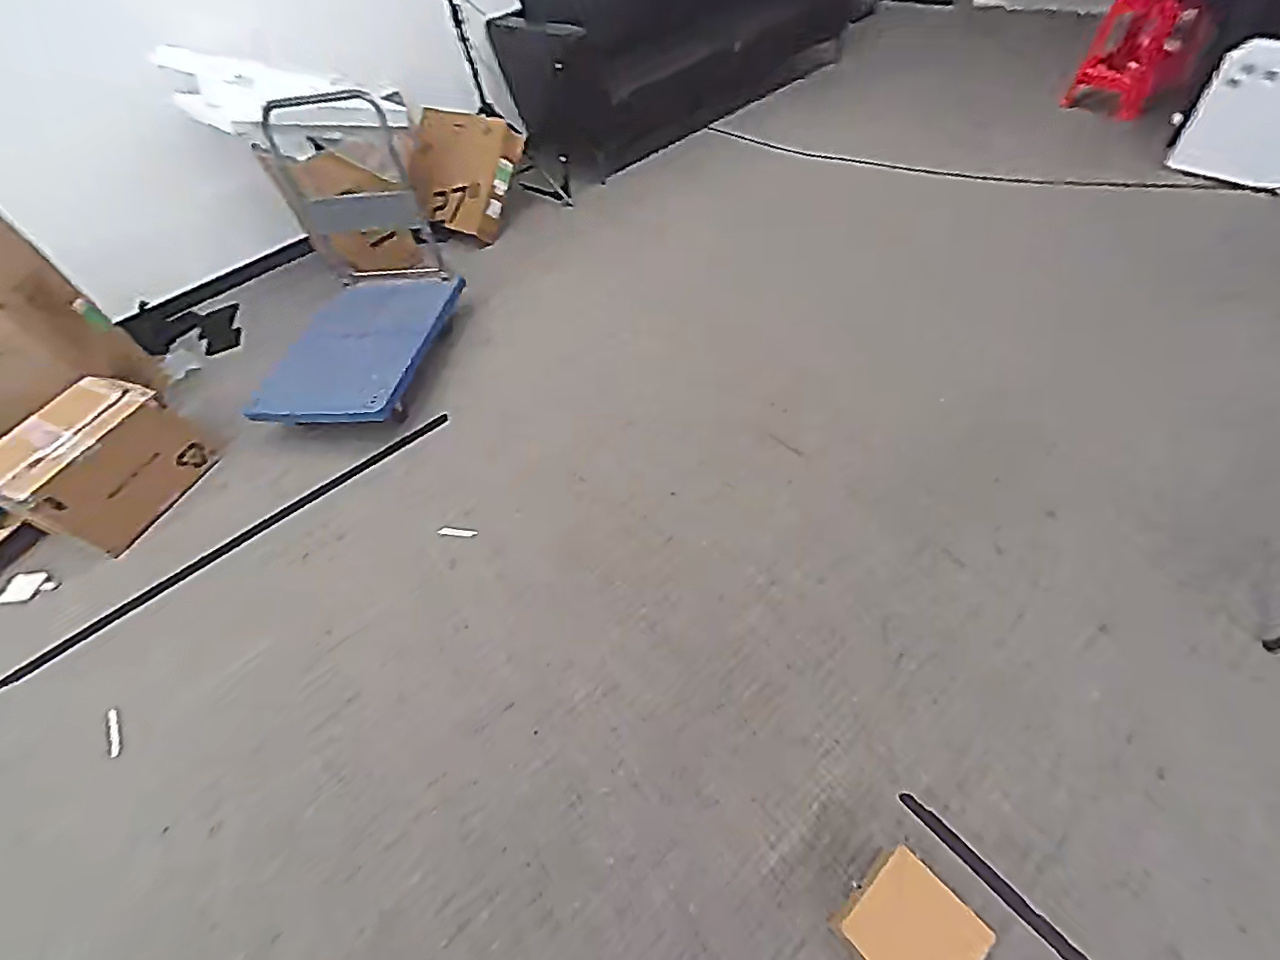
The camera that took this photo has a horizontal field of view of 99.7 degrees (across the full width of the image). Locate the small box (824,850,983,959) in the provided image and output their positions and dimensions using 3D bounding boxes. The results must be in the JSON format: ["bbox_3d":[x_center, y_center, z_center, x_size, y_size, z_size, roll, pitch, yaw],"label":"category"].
[{"bbox_3d":[0.448,0.776,0.932,0.179,0.176,0.168,-38,55,-19],"label":"small box"}]
